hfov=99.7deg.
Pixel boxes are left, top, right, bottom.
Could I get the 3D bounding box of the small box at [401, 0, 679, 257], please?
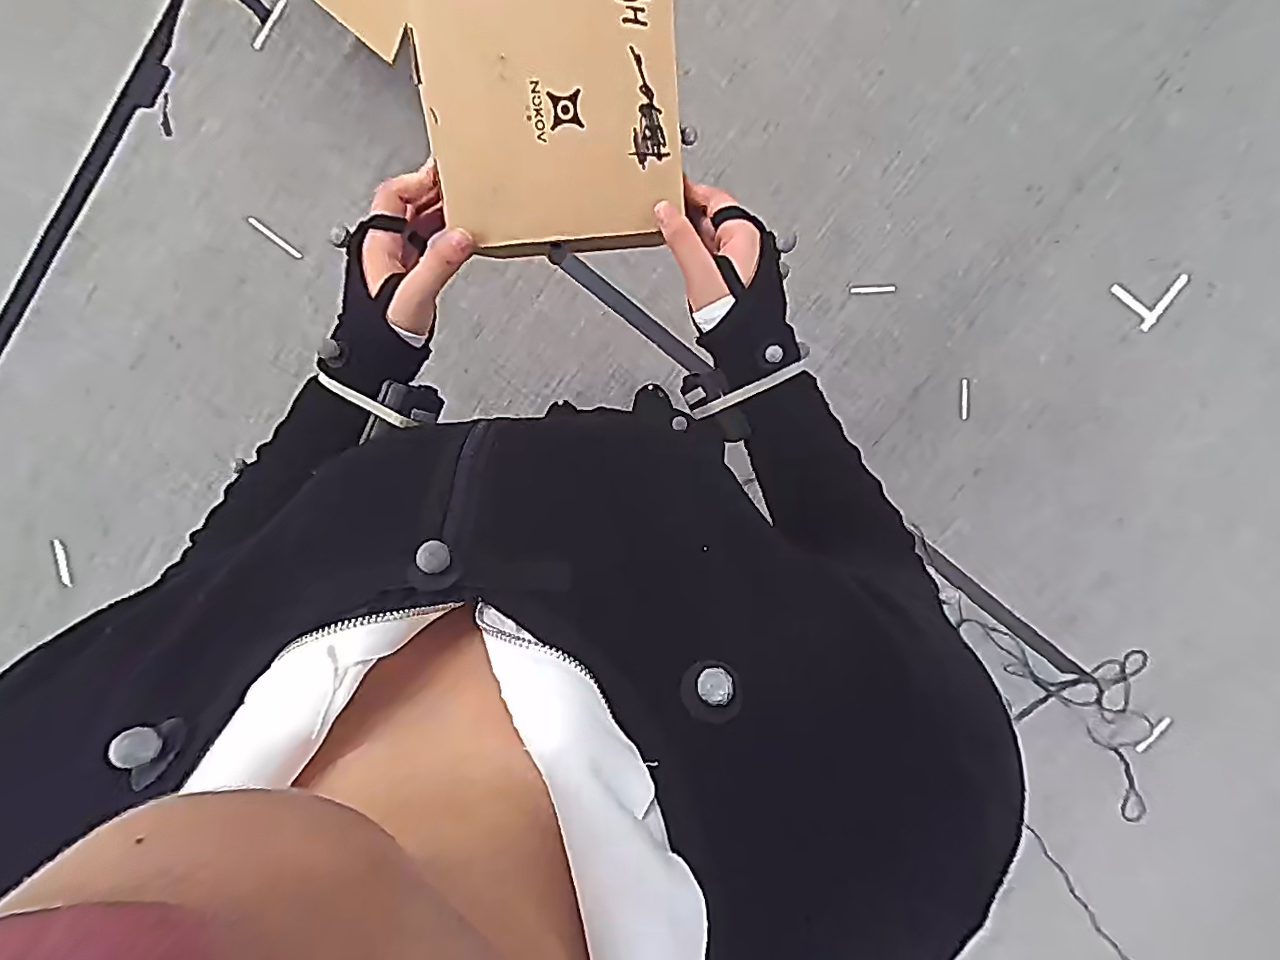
[{"bbox_3d":[-0.065,-0.282,0.446,0.179,0.176,0.168,-5,110,0],"label":"small box"}]
